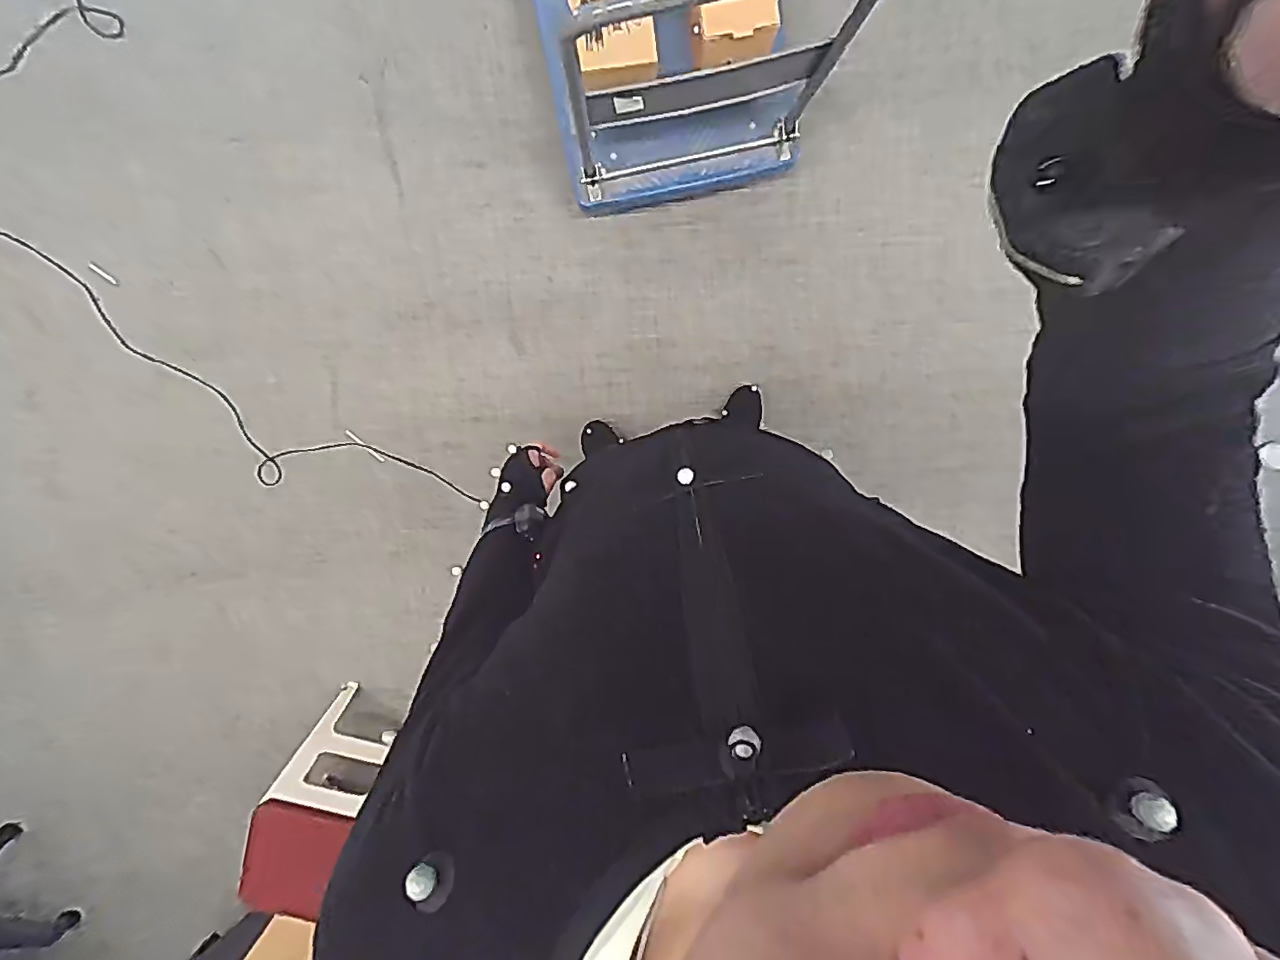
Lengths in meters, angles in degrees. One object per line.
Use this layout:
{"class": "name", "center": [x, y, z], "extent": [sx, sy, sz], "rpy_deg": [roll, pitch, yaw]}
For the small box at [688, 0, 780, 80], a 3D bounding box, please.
{"class": "small box", "center": [0.207, -1.065, 1.231], "extent": [0.168, 0.176, 0.179], "rpy_deg": [-11, 99, 2]}
